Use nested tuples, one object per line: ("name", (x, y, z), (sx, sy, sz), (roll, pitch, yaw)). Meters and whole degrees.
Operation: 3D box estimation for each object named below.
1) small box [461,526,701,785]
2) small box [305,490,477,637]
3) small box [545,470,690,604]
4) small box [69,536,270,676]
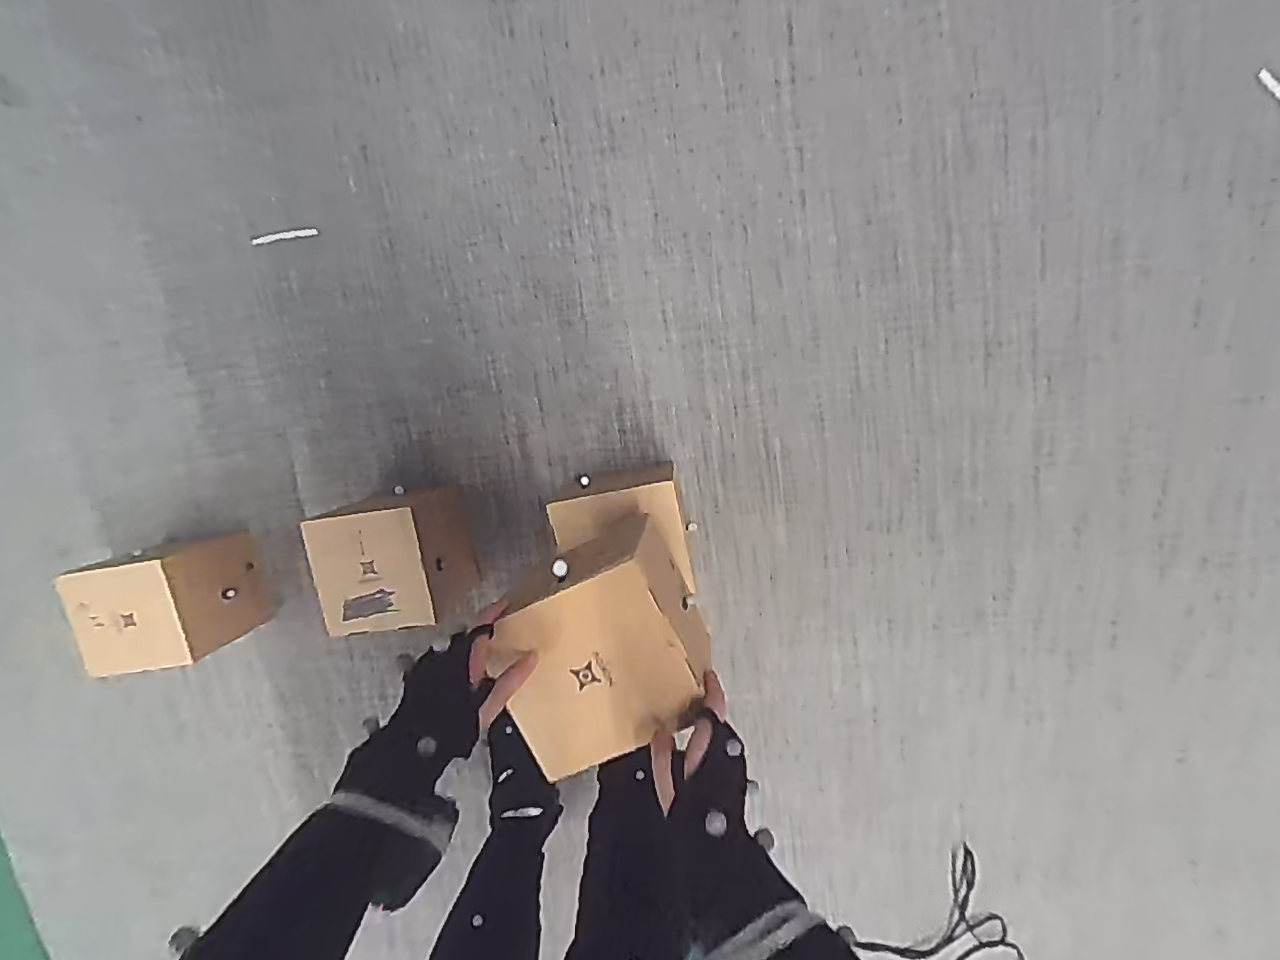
("small box", (-0.046, 0.169, 0.568), (0.179, 0.176, 0.168), (-26, 96, 9))
("small box", (-0.373, 0.123, 0.845), (0.168, 0.176, 0.179), (-8, 98, 6))
("small box", (-0.023, 0.088, 0.810), (0.179, 0.176, 0.168), (-10, 99, 6))
("small box", (-0.752, 0.198, 0.892), (0.179, 0.176, 0.168), (-9, 98, 6))
